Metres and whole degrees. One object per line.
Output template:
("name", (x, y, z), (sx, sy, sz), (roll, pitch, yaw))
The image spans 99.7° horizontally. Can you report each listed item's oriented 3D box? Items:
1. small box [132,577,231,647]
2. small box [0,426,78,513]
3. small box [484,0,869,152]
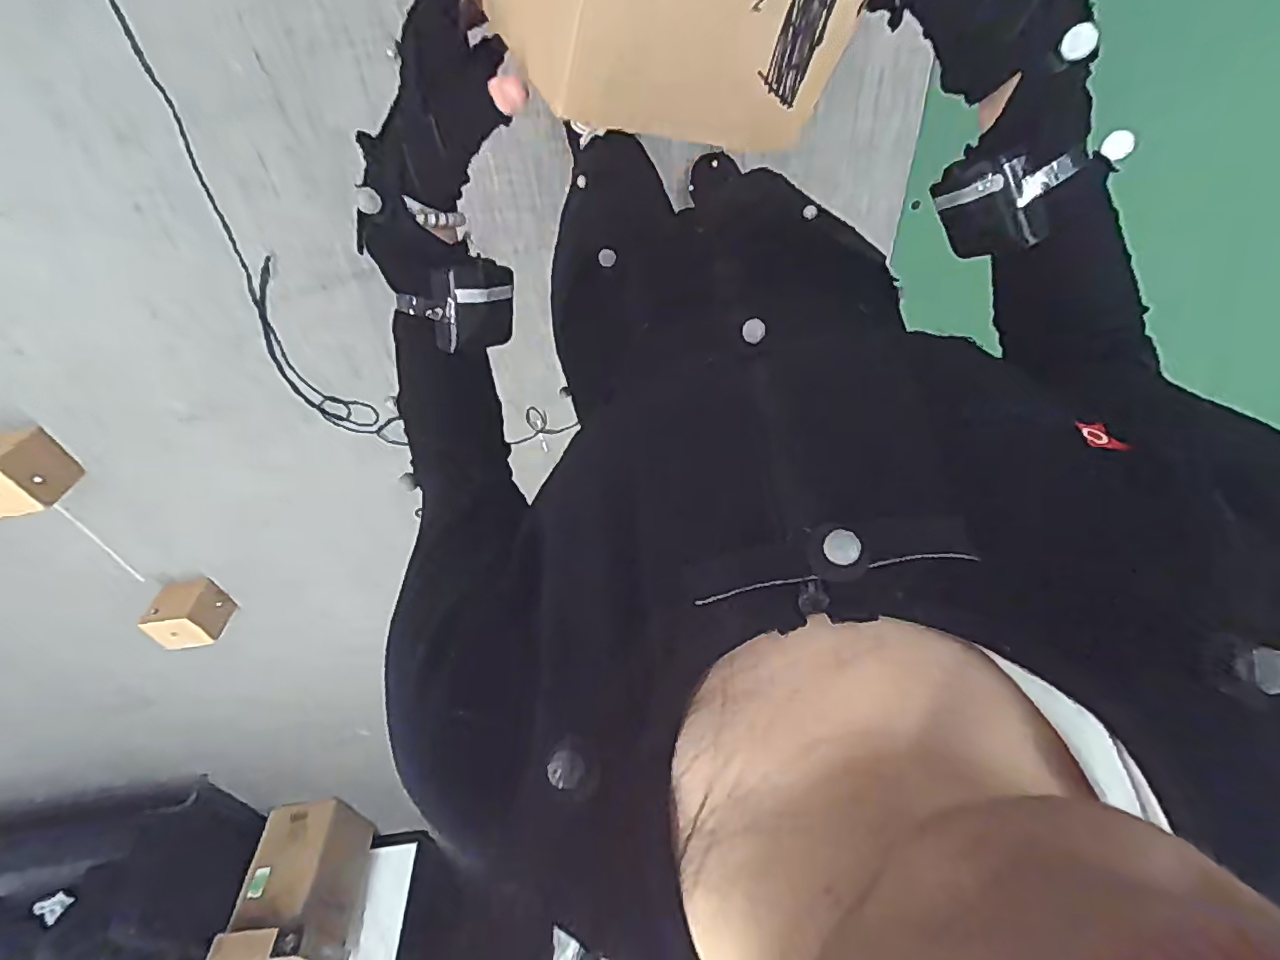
("small box", (-1.620, 0.469, 1.922), (0.179, 0.176, 0.168), (-9, 132, 1))
("small box", (-1.718, -0.032, 1.465), (0.168, 0.176, 0.179), (-9, 132, 0))
("small box", (0.020, -0.313, 0.286), (0.179, 0.176, 0.168), (-11, 150, -32))
